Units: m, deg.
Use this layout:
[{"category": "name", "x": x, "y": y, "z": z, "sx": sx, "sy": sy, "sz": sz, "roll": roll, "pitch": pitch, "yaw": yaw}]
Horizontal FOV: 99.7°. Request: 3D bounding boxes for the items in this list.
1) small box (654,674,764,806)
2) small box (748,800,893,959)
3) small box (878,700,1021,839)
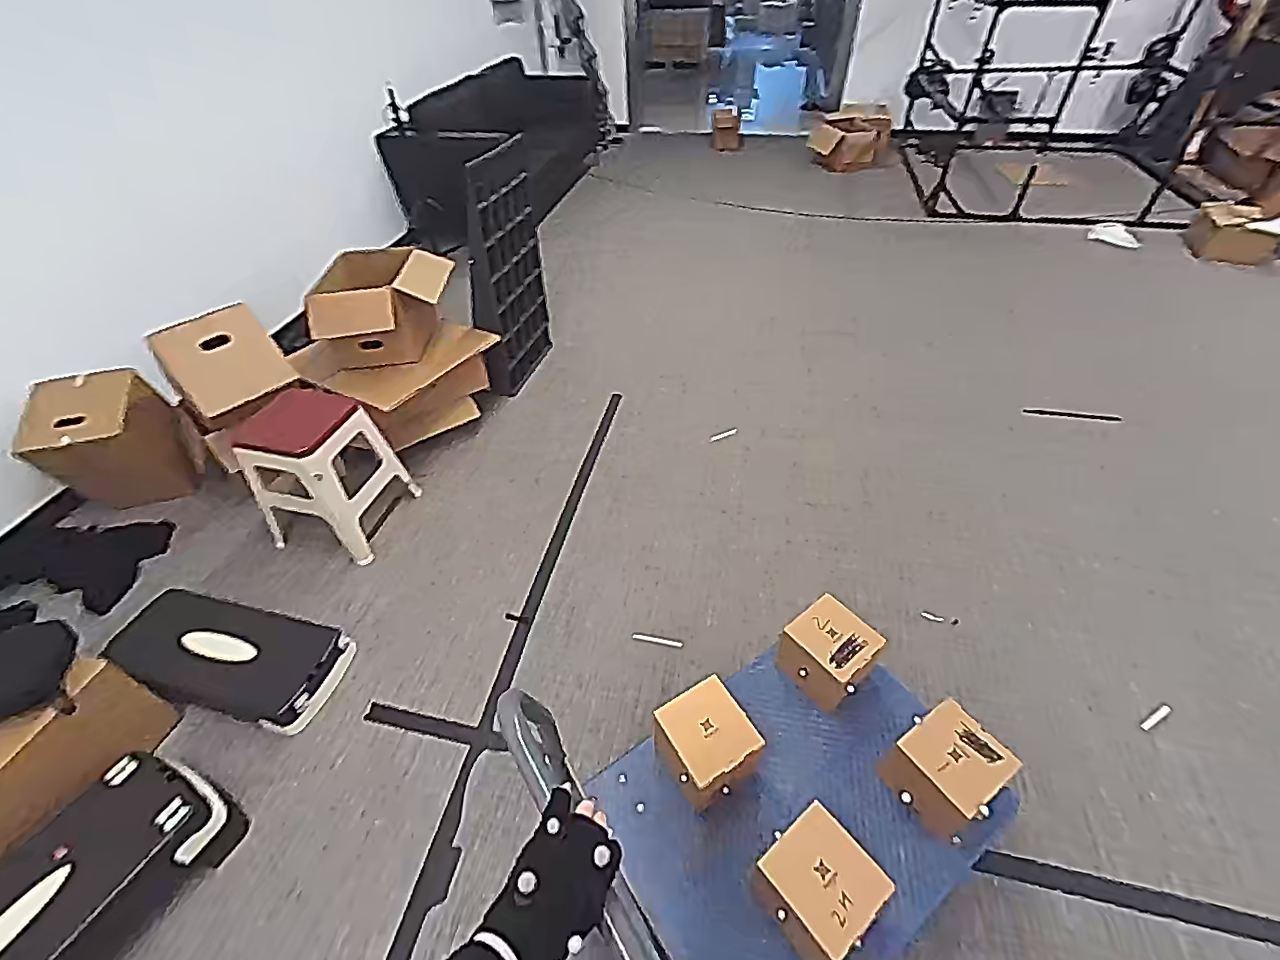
[{"category": "small box", "x": 0.140, "y": 0.567, "z": 1.178, "sx": 0.168, "sy": 0.176, "sz": 0.179, "roll": -23, "pitch": 50, "yaw": -21}, {"category": "small box", "x": 0.319, "y": 0.742, "z": 0.994, "sx": 0.168, "sy": 0.176, "sz": 0.179, "roll": -28, "pitch": 50, "yaw": -25}, {"category": "small box", "x": 0.632, "y": 0.603, "z": 1.128, "sx": 0.179, "sy": 0.176, "sz": 0.168, "roll": -25, "pitch": 49, "yaw": -21}]
